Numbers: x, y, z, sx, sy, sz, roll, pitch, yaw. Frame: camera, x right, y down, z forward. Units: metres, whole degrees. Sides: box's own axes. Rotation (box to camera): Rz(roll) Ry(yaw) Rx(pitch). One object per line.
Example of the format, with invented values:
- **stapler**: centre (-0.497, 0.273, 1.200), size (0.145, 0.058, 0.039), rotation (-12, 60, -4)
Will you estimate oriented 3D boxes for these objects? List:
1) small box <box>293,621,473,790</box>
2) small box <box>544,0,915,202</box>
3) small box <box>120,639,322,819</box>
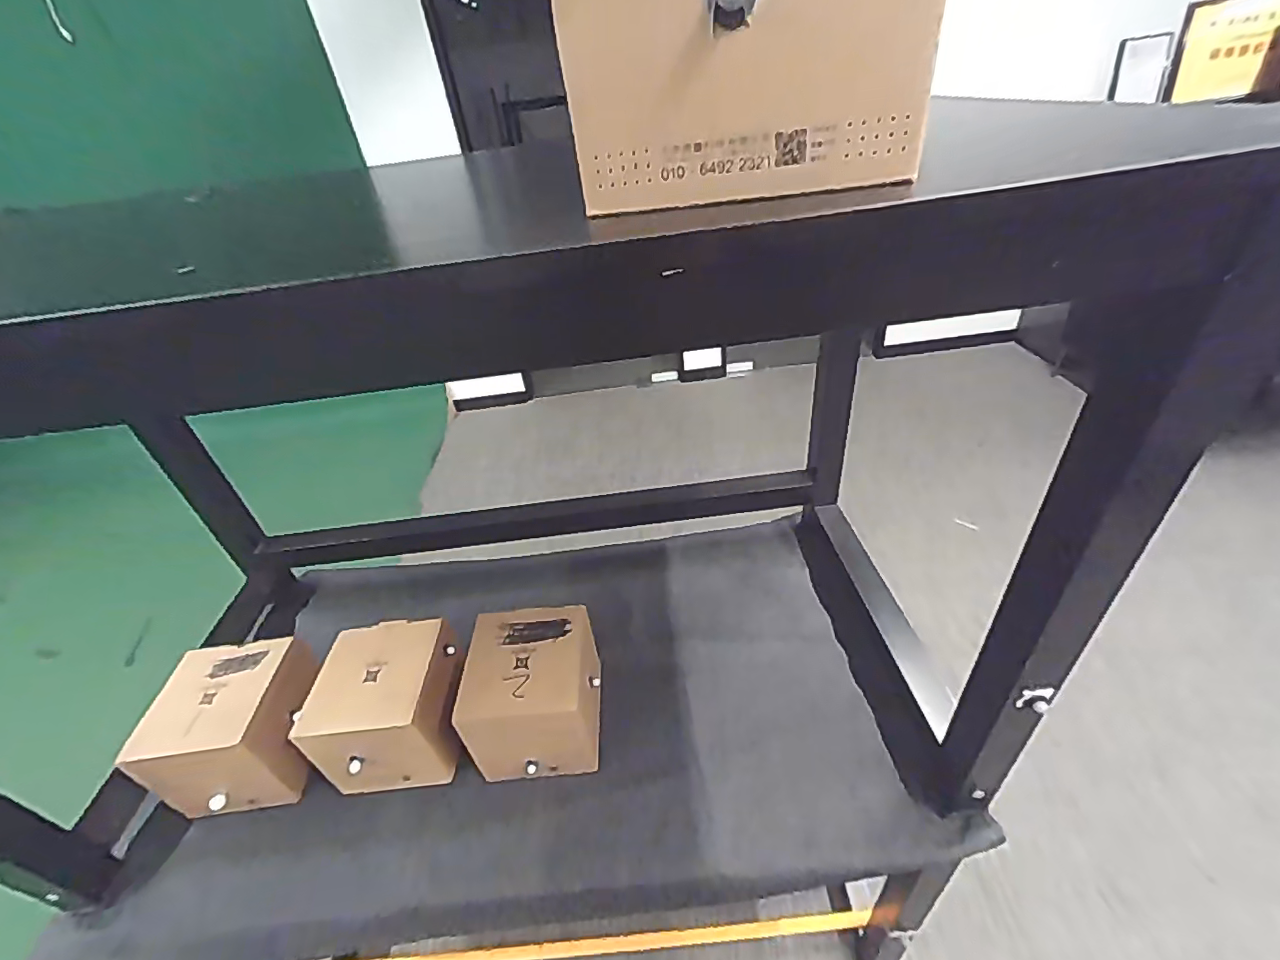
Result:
- **small box**: centre (-0.364, 0.340, 0.810), size (0.168, 0.176, 0.179), rotation (-7, 35, 1)
- **small box**: centre (0.046, -0.260, 0.296), size (0.168, 0.176, 0.179), rotation (-2, 36, 9)
- **small box**: centre (-0.589, 0.369, 0.810), size (0.168, 0.176, 0.179), rotation (-9, 36, 0)
